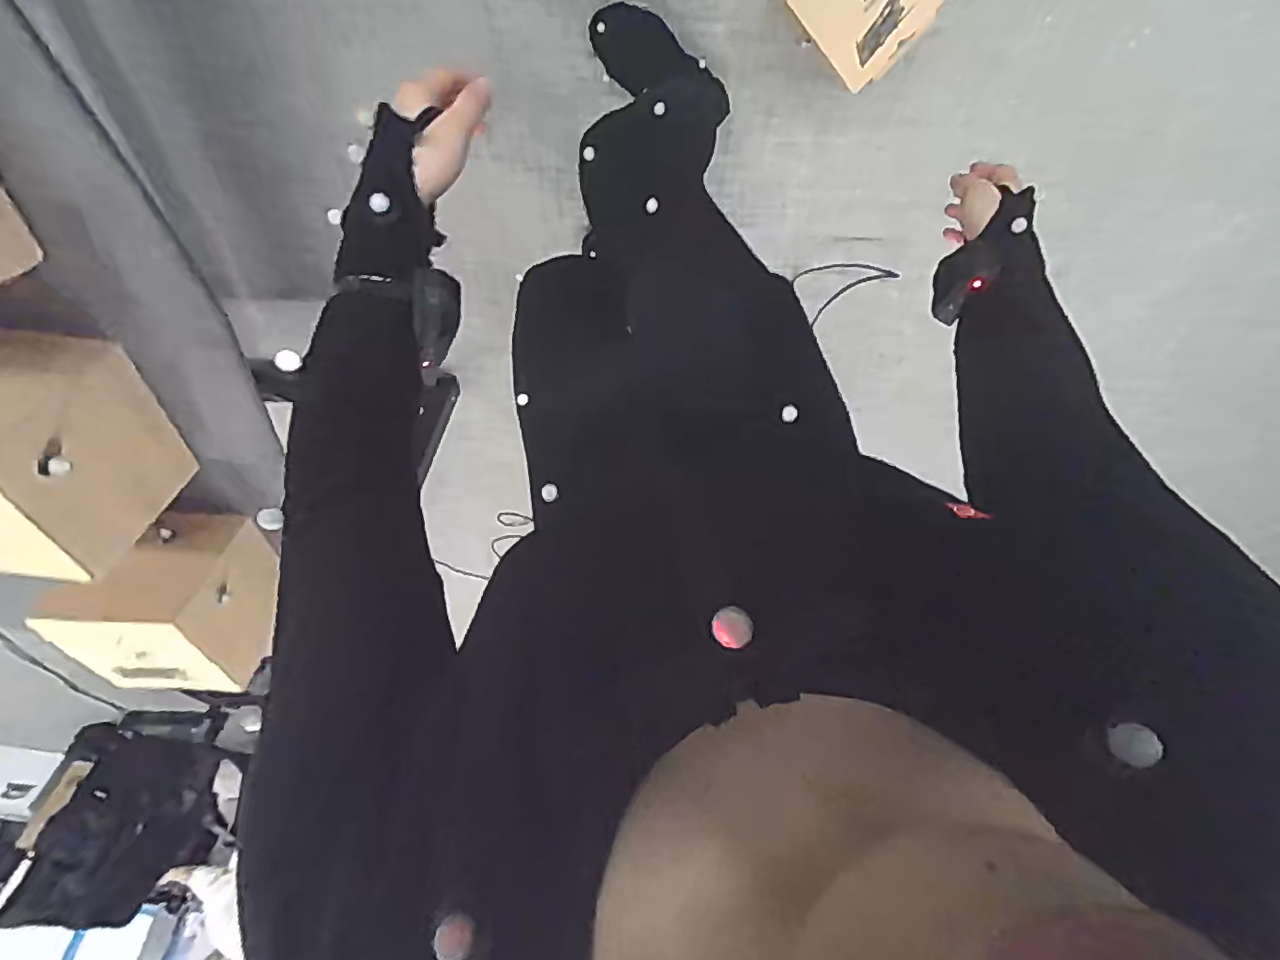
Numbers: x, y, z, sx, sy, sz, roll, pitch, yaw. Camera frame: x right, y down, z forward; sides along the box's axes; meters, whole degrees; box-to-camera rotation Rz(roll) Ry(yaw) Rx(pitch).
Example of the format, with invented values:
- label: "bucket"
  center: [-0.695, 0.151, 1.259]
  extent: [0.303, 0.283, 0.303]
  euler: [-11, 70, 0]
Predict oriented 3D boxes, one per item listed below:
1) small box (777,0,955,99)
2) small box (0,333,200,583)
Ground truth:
- label: "small box"
  center: [0.331, -0.735, 0.819]
  extent: [0.179, 0.176, 0.168]
  euler: [32, 128, -27]
- label: "small box"
  center: [-0.594, -0.025, 0.529]
  extent: [0.168, 0.176, 0.179]
  euler: [8, 136, -3]
